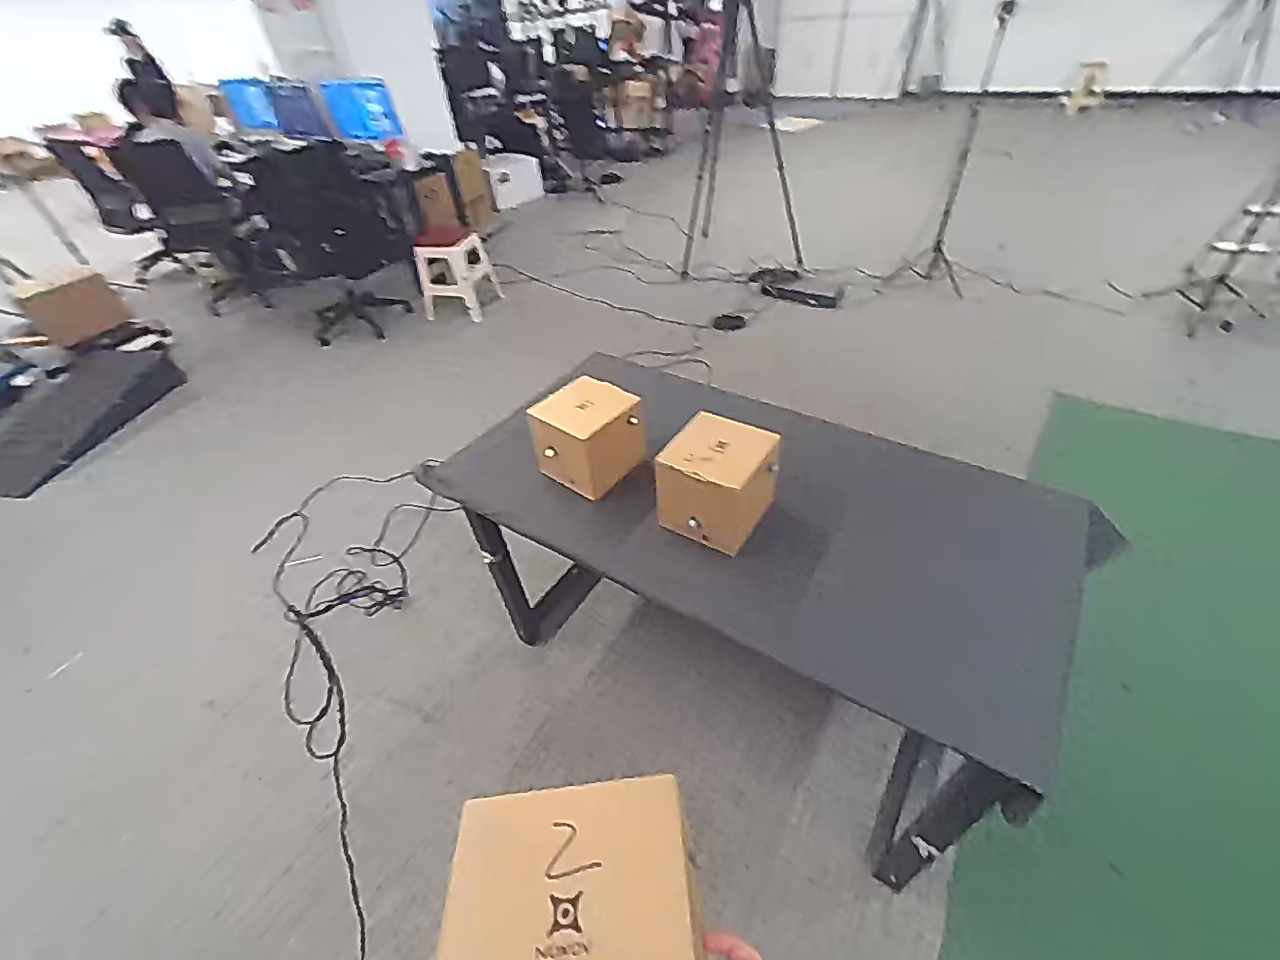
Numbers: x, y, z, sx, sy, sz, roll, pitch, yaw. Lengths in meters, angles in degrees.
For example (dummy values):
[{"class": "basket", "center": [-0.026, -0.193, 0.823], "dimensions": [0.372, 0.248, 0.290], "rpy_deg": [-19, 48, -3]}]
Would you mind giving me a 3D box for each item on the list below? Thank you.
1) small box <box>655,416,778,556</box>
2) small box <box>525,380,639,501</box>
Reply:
[{"class": "small box", "center": [0.143, 0.009, 1.025], "dimensions": [0.168, 0.176, 0.179], "rpy_deg": [21, 48, 27]}, {"class": "small box", "center": [-0.113, -0.084, 1.156], "dimensions": [0.168, 0.176, 0.179], "rpy_deg": [26, 49, 30]}]
